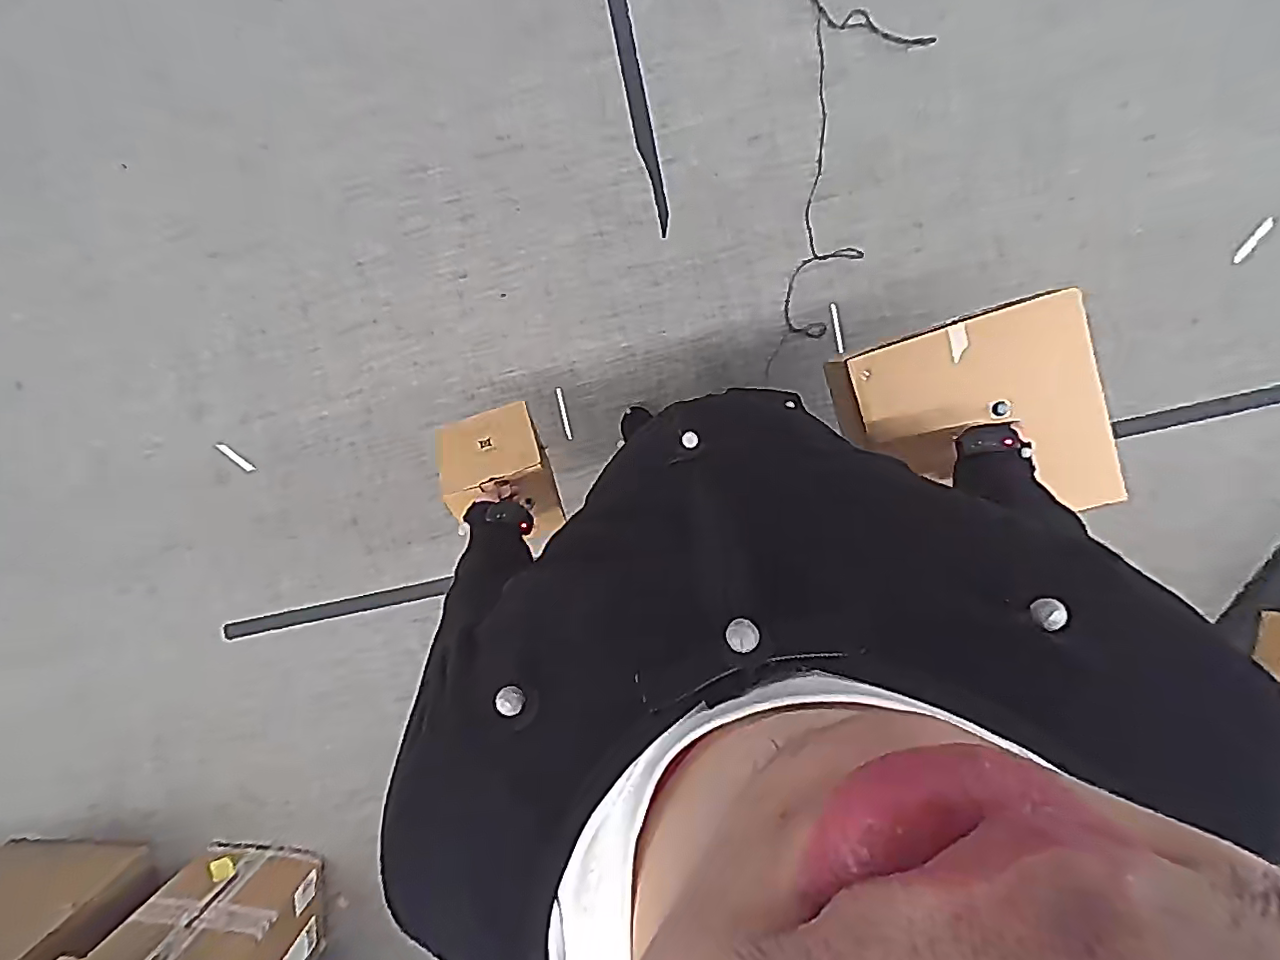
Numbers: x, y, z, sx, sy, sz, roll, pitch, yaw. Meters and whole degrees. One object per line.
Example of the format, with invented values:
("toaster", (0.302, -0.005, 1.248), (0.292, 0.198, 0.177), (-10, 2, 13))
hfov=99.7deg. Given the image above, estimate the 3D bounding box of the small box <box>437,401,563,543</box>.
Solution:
("small box", (-0.248, -0.006, 0.978), (0.168, 0.179, 0.176), (-19, 140, -7))
